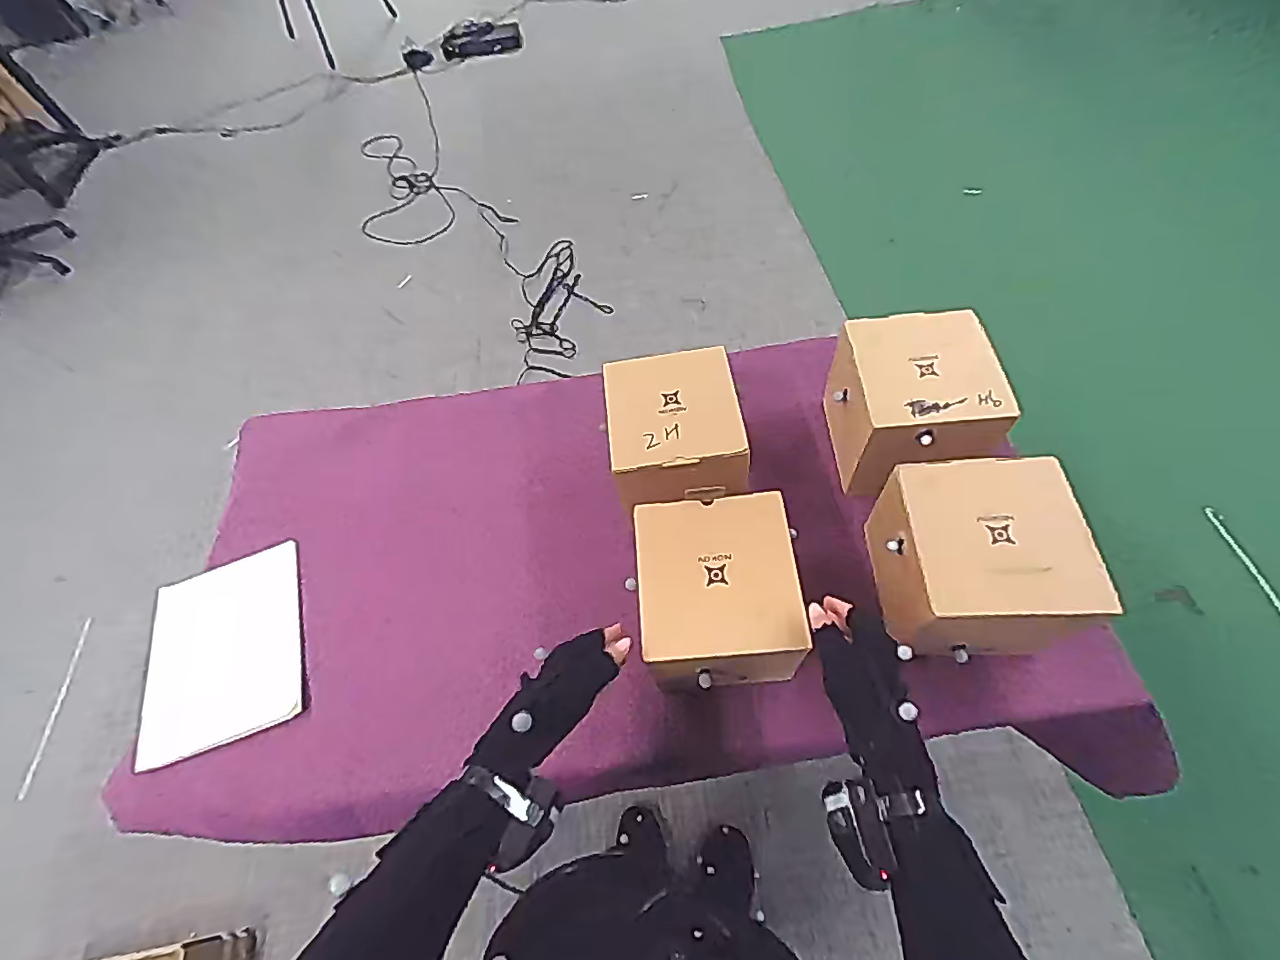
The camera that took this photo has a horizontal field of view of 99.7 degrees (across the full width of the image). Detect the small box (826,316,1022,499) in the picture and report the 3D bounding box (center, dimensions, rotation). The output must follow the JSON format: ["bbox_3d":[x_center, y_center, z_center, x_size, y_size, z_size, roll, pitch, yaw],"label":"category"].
[{"bbox_3d":[0.359,-0.092,0.728,0.168,0.176,0.179,-4,59,6],"label":"small box"}]

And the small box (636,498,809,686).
[{"bbox_3d":[0.089,0.140,0.629,0.168,0.176,0.179,-5,62,4],"label":"small box"}]

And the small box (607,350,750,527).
[{"bbox_3d":[0.049,-0.049,0.742,0.168,0.176,0.179,-8,60,3],"label":"small box"}]
